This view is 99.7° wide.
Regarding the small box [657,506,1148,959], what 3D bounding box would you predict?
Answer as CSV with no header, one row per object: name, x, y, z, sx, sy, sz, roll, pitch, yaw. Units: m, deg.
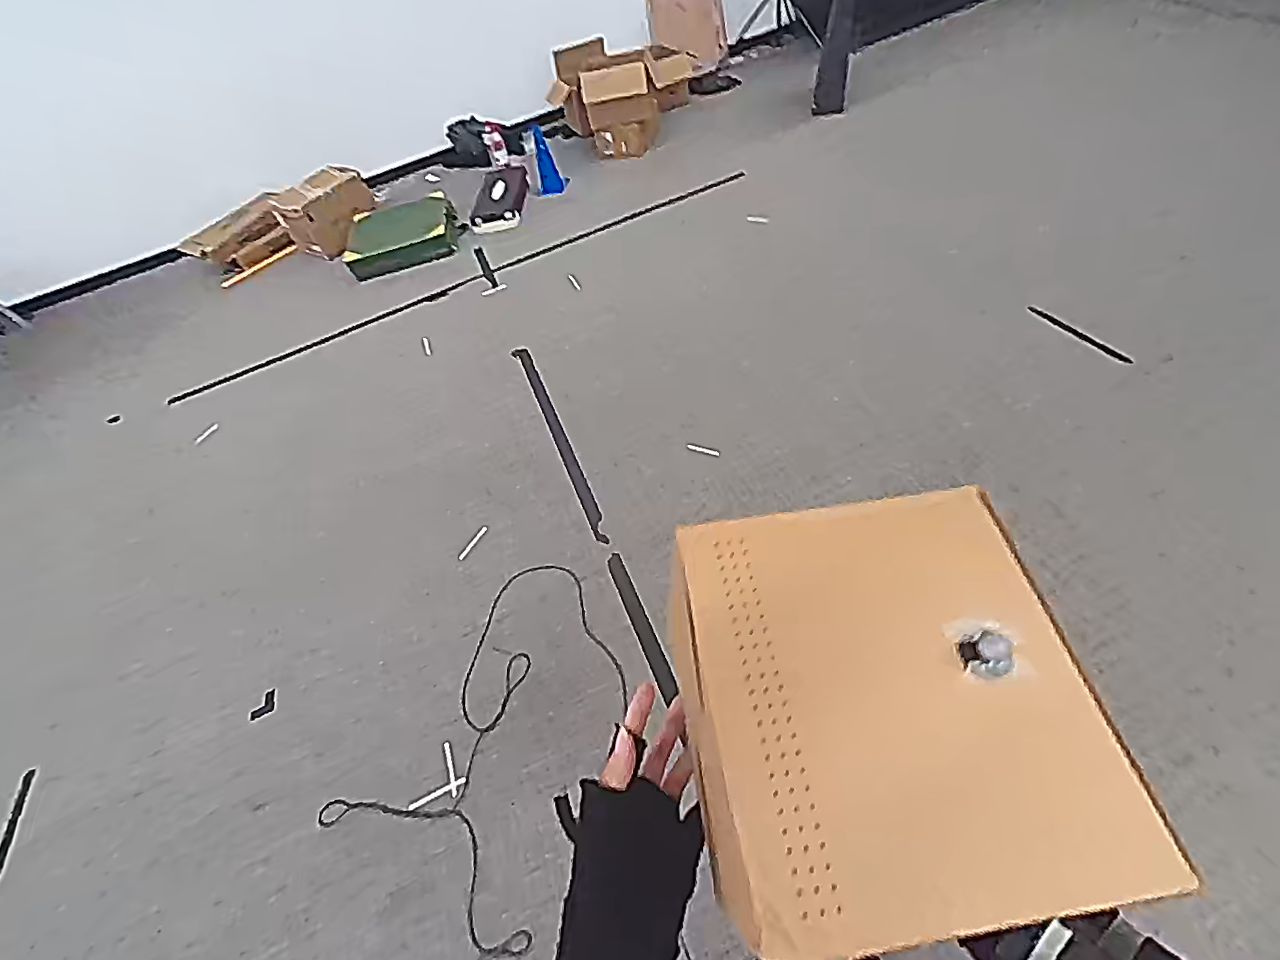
small box,0.104,0.139,0.314,0.176,0.168,0.179,-9,58,-3
